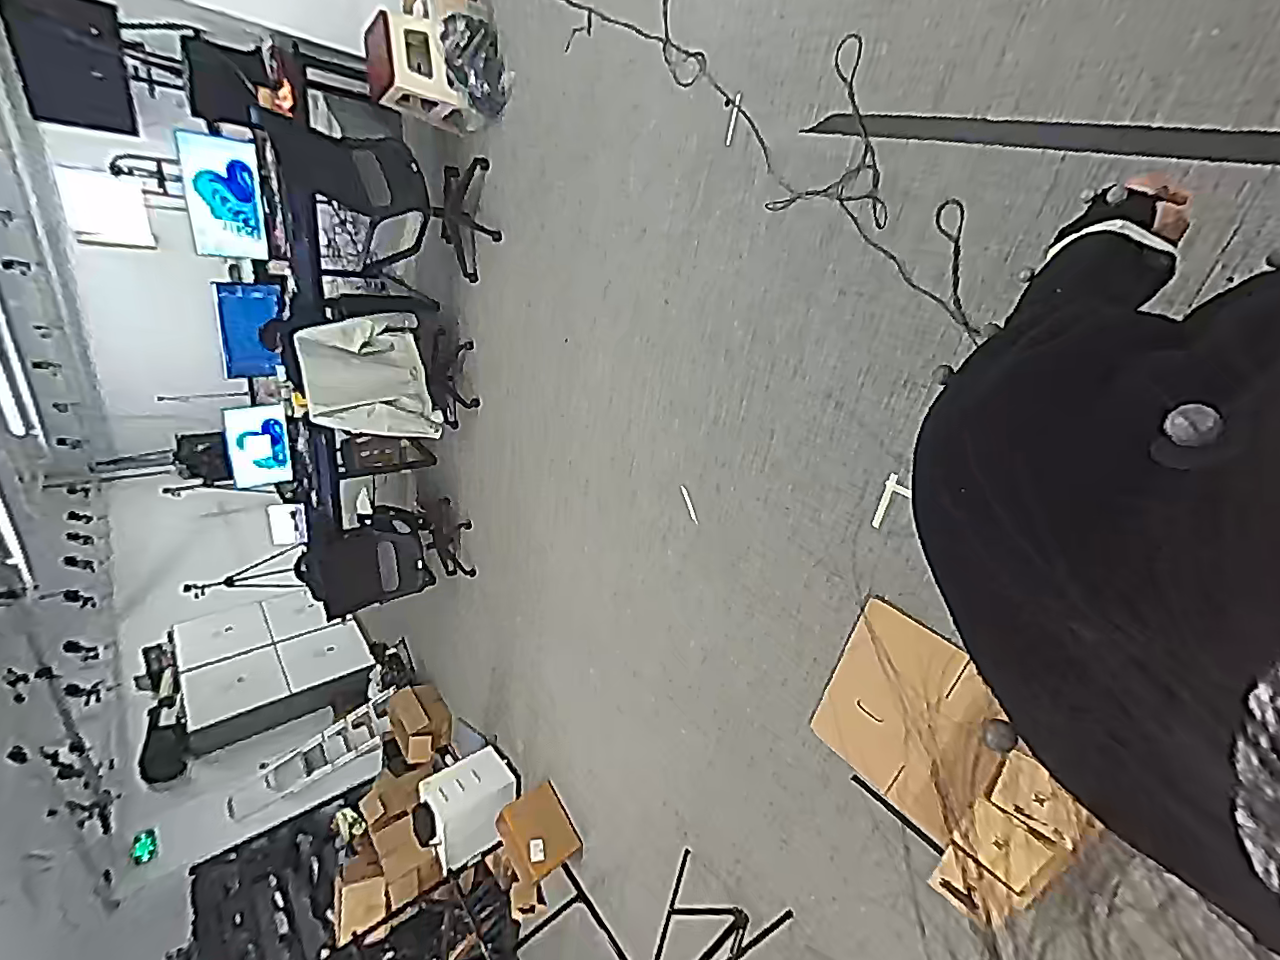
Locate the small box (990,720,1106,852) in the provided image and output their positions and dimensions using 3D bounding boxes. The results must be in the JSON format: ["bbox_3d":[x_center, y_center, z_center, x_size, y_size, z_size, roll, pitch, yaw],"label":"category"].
[{"bbox_3d":[0.968,0.712,1.280,0.168,0.176,0.179,24,117,43],"label":"small box"}]
